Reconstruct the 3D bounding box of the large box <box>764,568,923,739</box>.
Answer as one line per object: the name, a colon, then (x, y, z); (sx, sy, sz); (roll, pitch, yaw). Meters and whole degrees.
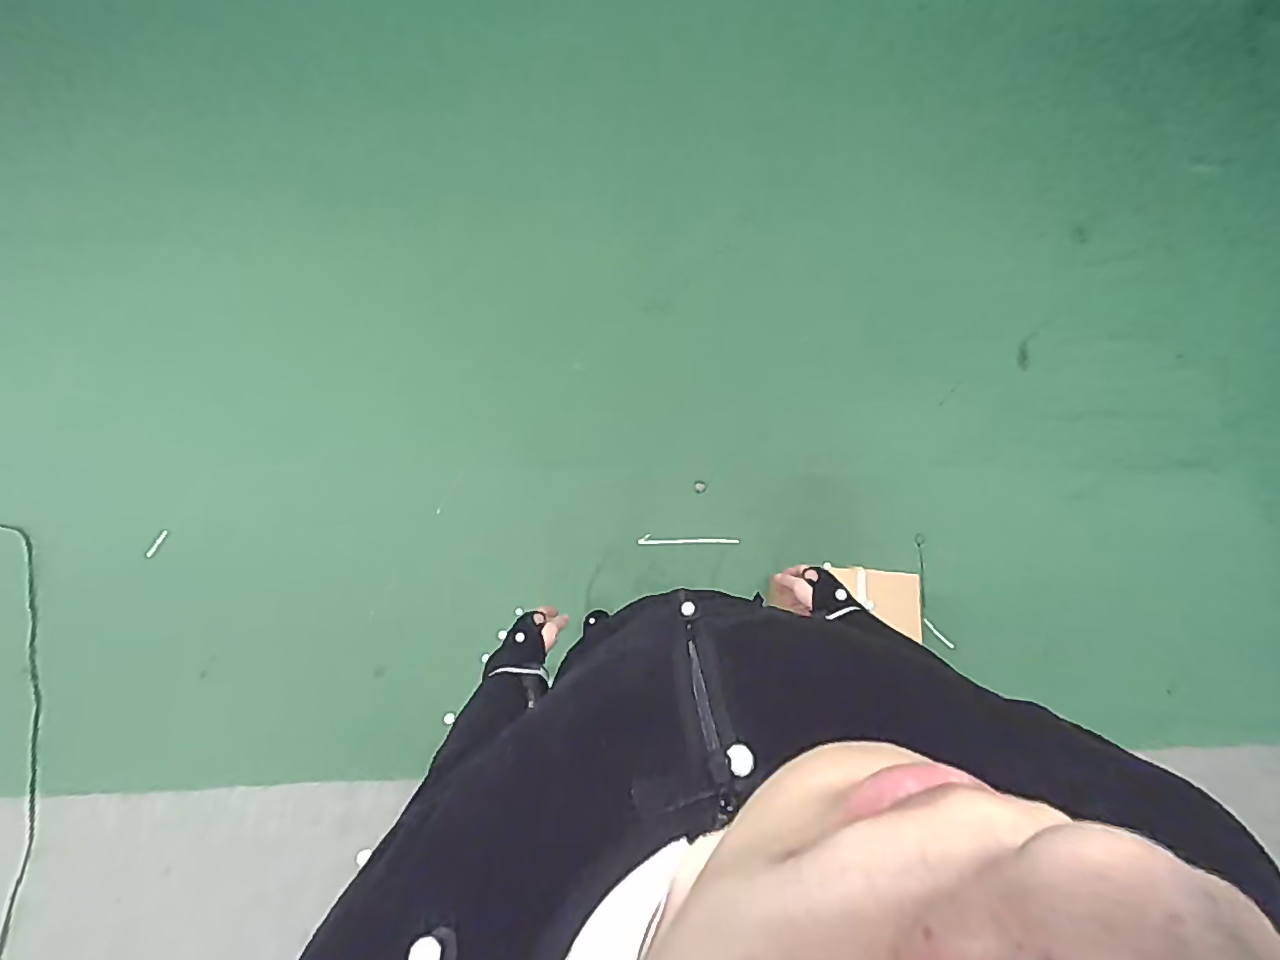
large box: (0.539, 0.462, 1.501); (0.320, 0.320, 0.408); (4, 76, -2)
